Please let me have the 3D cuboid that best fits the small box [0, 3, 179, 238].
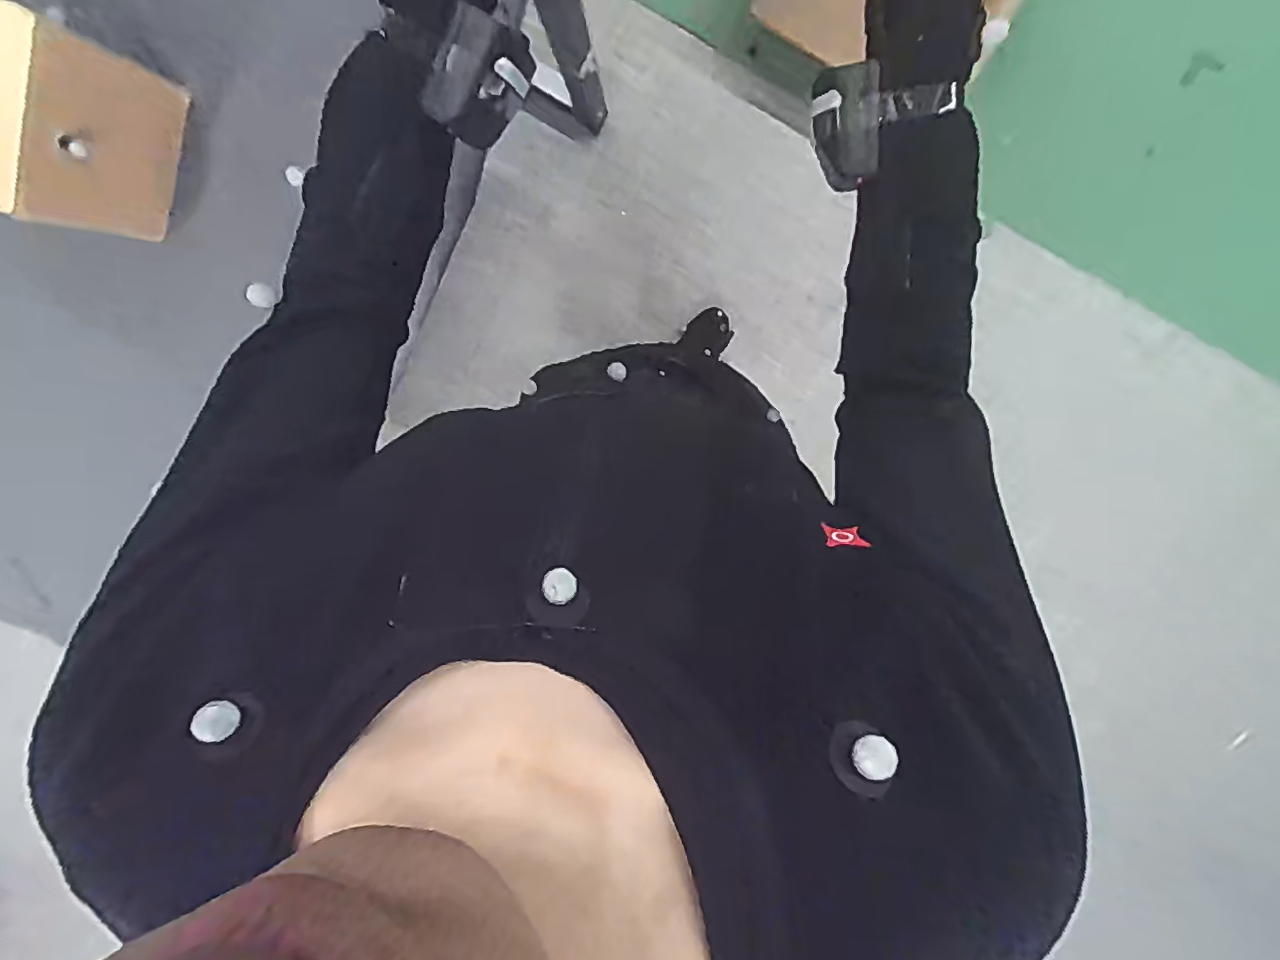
[{"bbox_3d":[-0.629,-0.376,0.555,0.168,0.176,0.179,24,107,-6],"label":"small box"}]
